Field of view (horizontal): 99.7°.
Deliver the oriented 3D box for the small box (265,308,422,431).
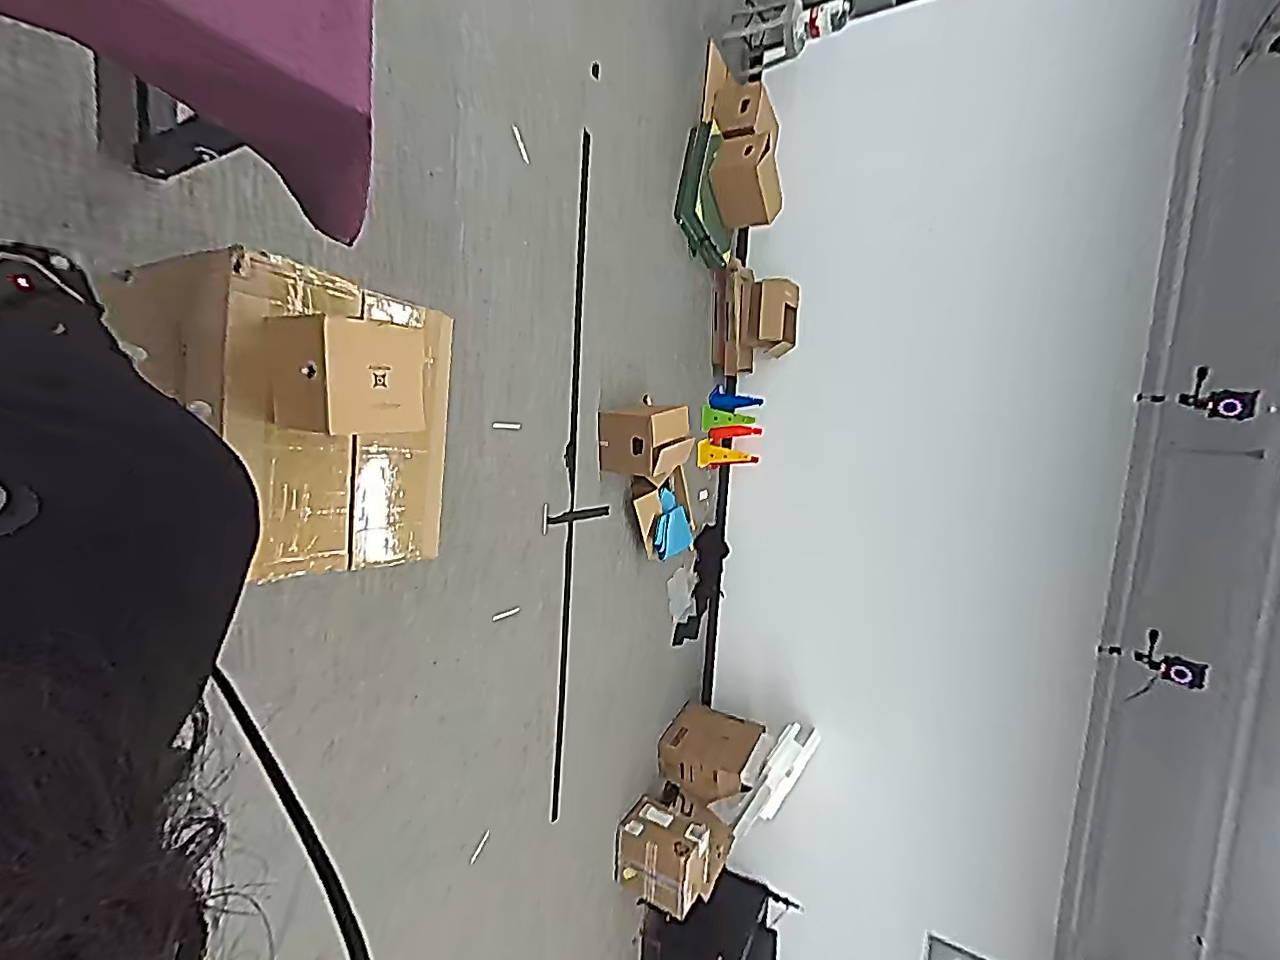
[{"bbox_3d":[-0.478,-0.174,0.875,0.168,0.176,0.179,-12,108,-57],"label":"small box"}]
